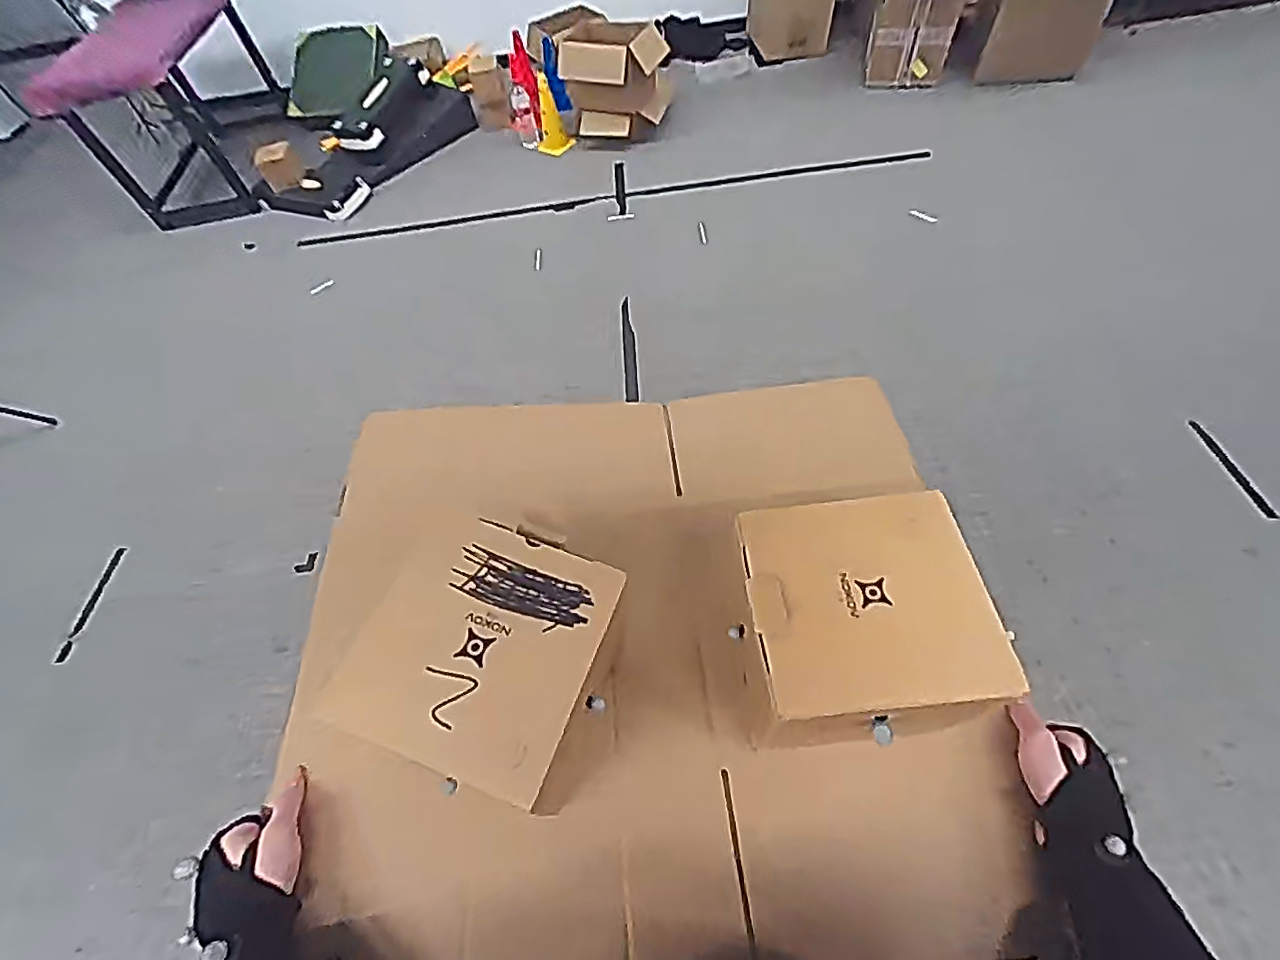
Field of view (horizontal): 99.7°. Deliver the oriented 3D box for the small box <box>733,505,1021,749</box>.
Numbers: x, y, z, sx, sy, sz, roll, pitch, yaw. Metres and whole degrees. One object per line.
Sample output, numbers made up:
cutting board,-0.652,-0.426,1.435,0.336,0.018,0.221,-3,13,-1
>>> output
small box,0.187,0.141,0.495,0.179,0.176,0.168,-7,56,2
